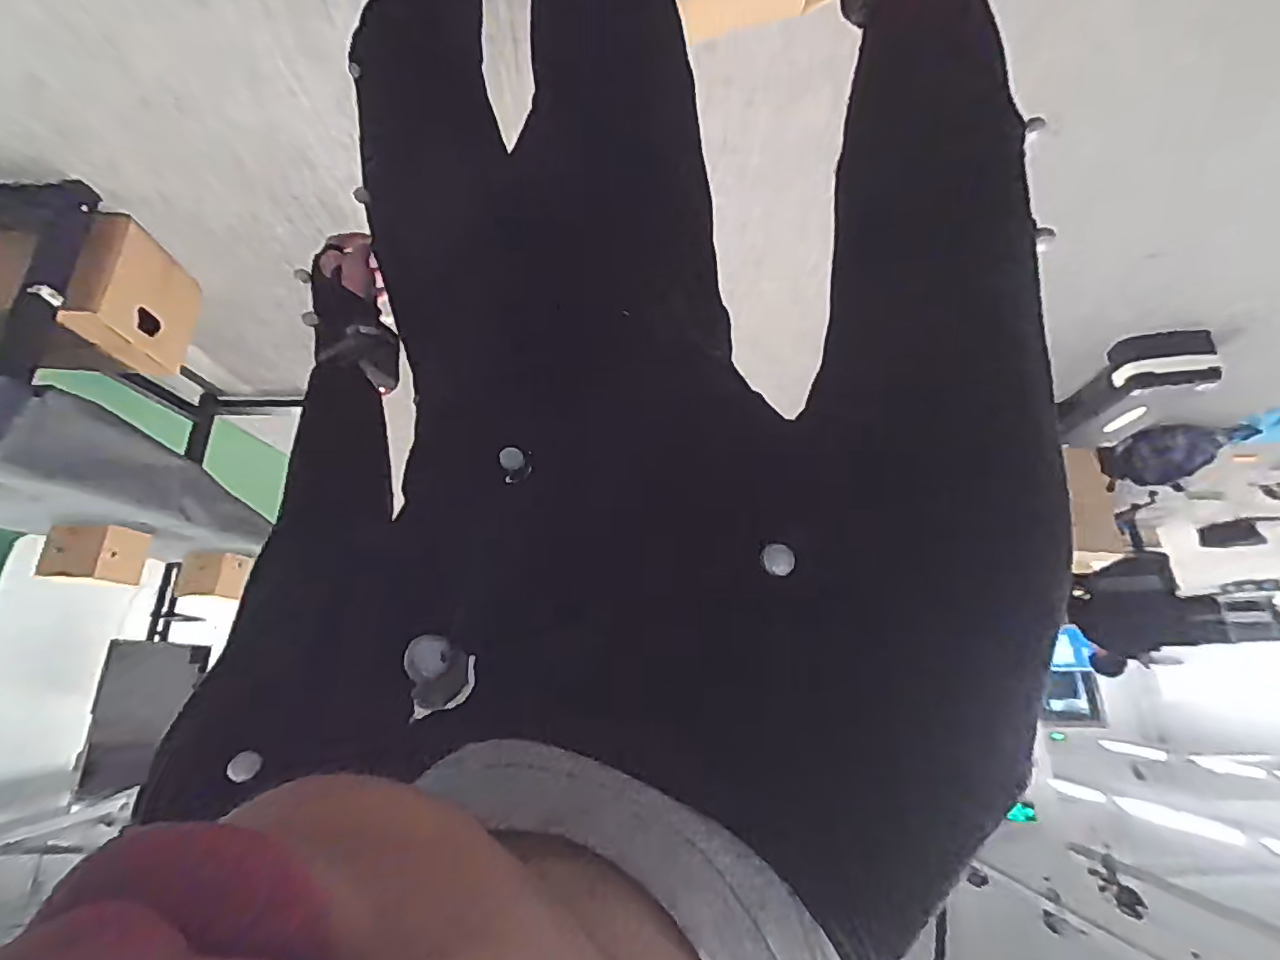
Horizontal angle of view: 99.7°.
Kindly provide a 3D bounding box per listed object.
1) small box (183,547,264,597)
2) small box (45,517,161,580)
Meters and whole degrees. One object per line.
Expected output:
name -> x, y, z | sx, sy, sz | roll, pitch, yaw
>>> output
small box -> -1.616, 0.360, 2.108 | 0.168, 0.176, 0.179 | -1, 161, 5
small box -> -1.649, 0.214, 1.671 | 0.168, 0.176, 0.179 | 3, 163, -3
